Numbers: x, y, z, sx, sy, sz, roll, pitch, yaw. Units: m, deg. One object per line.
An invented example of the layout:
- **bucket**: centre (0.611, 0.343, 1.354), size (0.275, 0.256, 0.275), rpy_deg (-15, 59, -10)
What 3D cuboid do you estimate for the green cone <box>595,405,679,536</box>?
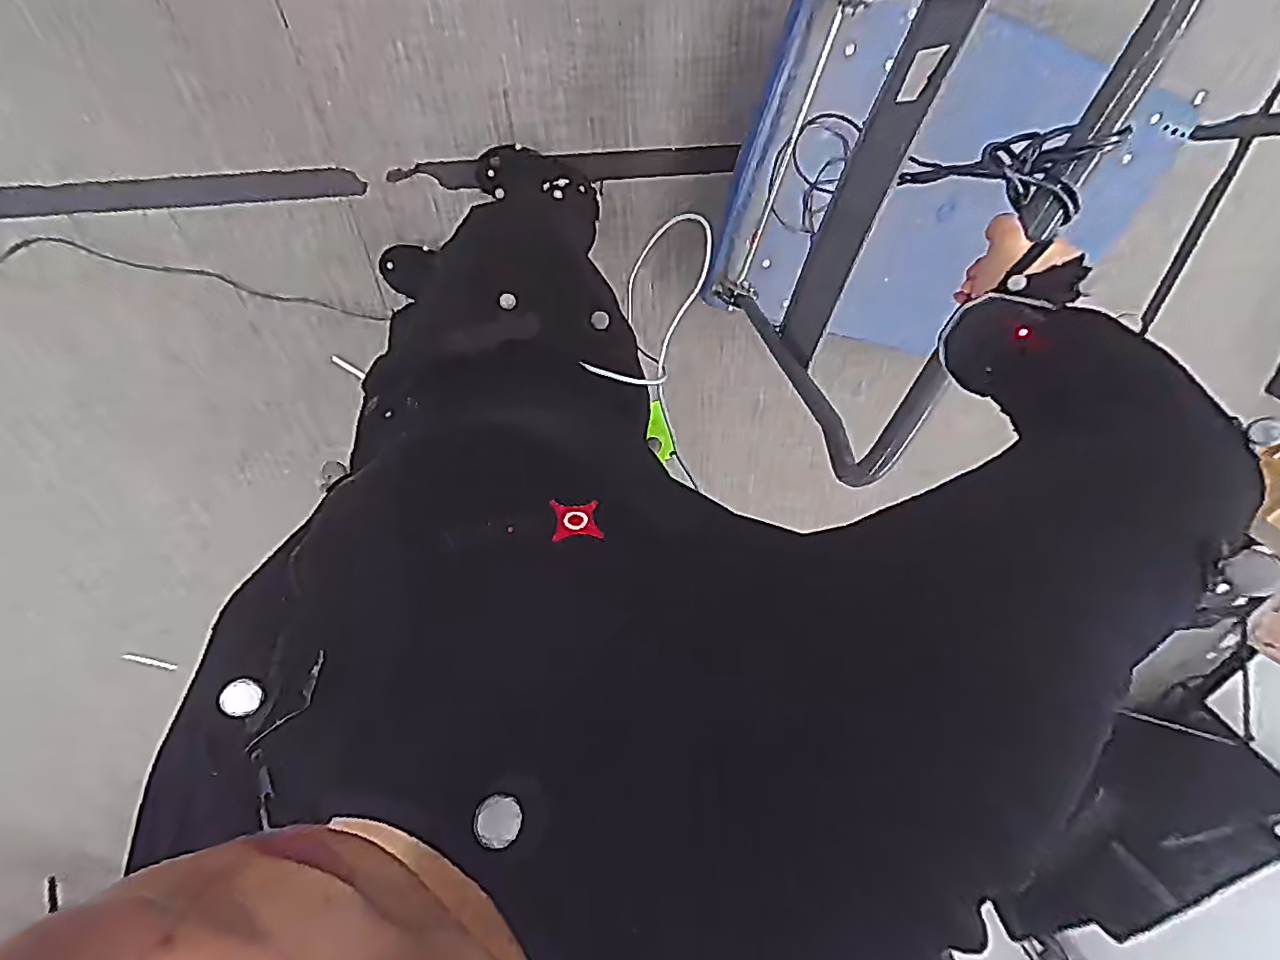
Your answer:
- **green cone**: centre (0.021, -0.002, 1.364), size (0.202, 0.368, 0.200), rpy_deg (-18, 129, 3)
